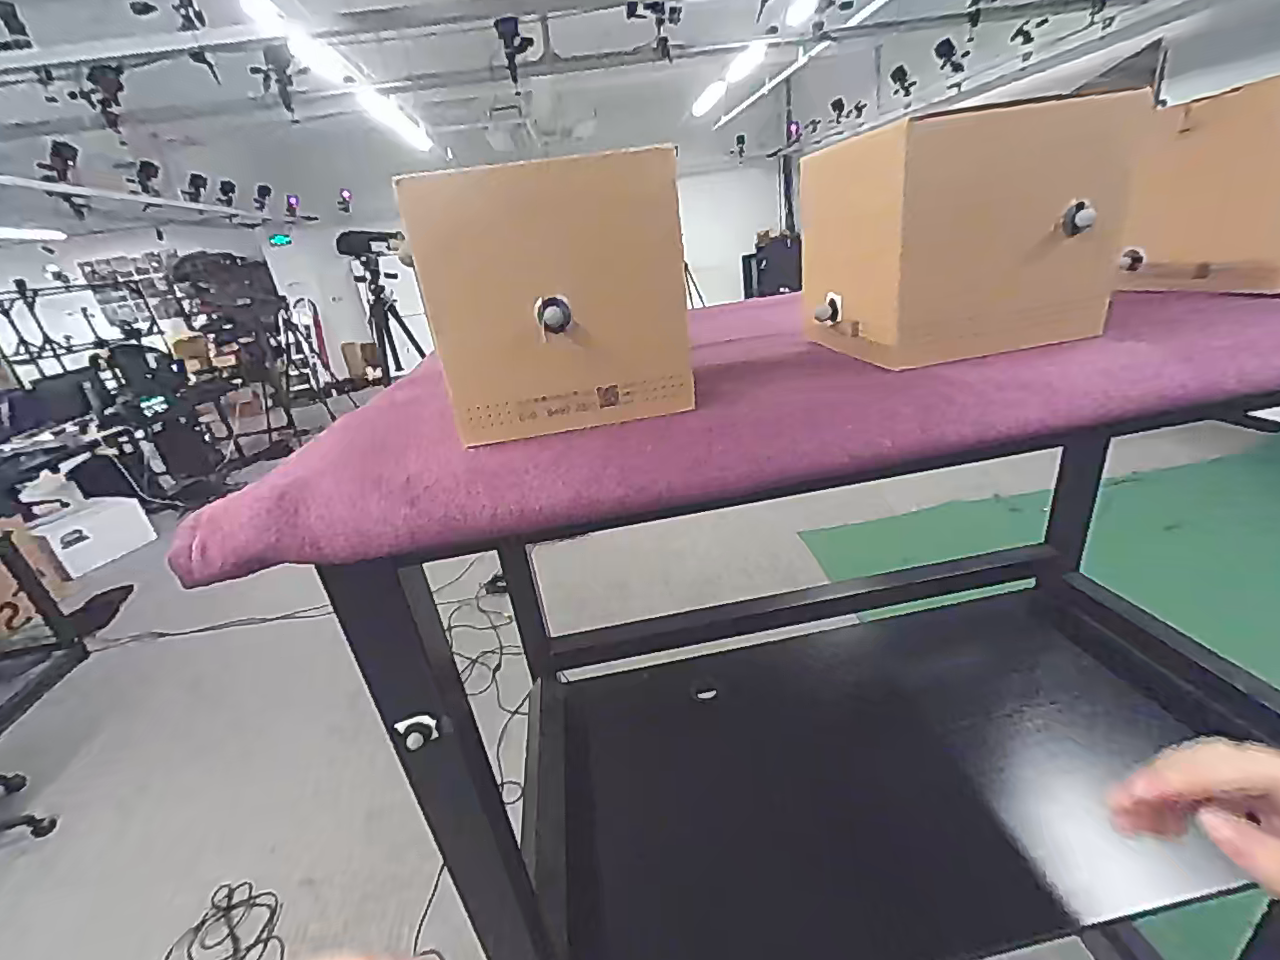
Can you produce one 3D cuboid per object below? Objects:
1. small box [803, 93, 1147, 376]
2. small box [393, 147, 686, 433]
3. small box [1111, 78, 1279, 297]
[{"bbox_3d":[0.251,-0.197,0.454,0.179,0.176,0.168,-11,24,-5],"label":"small box"},{"bbox_3d":[-0.064,-0.141,0.421,0.168,0.176,0.179,-9,25,-6],"label":"small box"},{"bbox_3d":[0.589,-0.269,0.500,0.179,0.176,0.168,-10,22,-3],"label":"small box"}]
